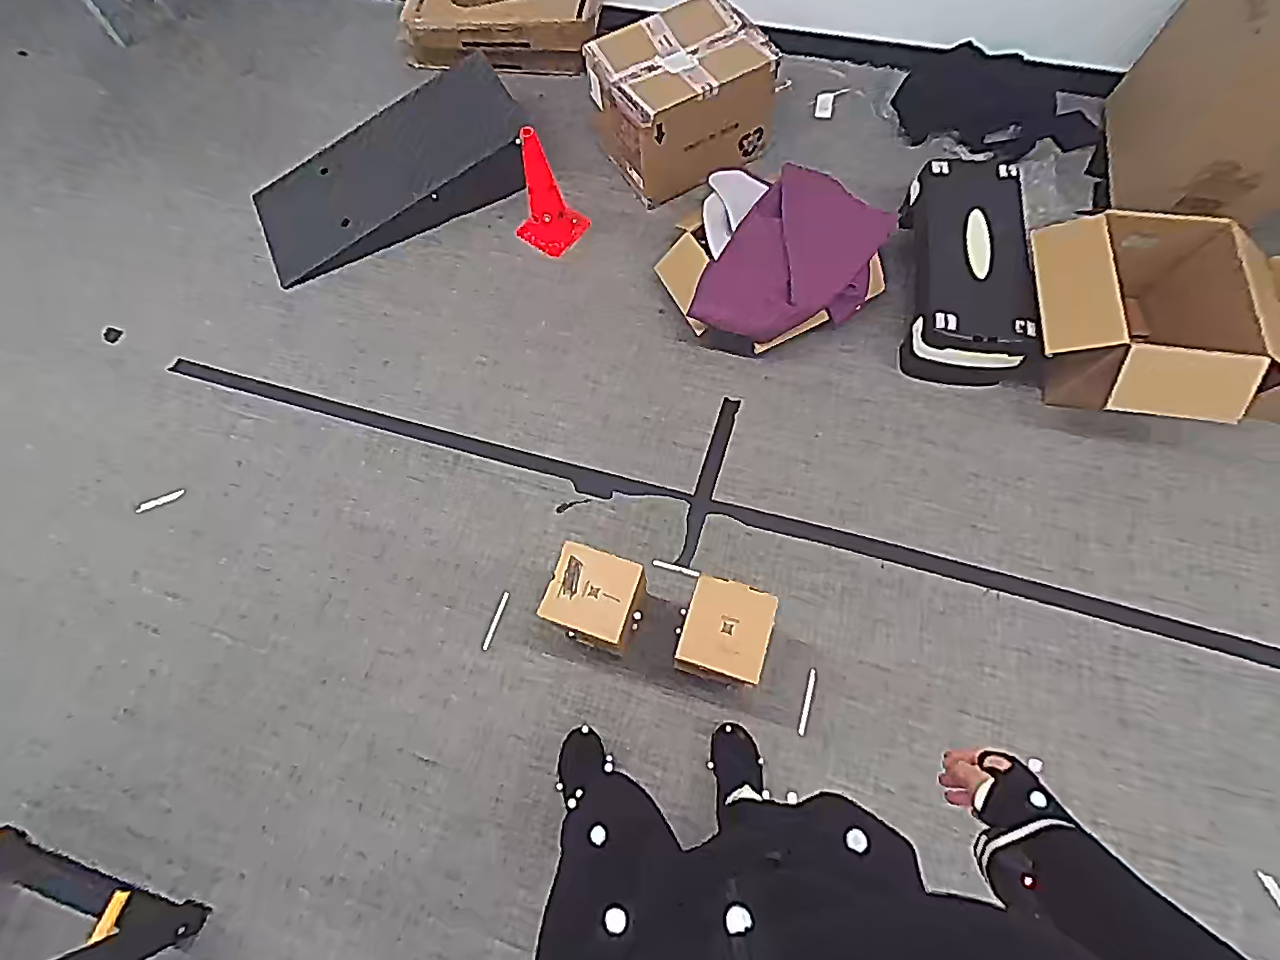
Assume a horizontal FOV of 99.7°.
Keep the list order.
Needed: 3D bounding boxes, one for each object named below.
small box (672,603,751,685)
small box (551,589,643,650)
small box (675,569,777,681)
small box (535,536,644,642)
[{"bbox_3d":[0.181,0.374,1.275,0.179,0.176,0.168,14,71,8],"label":"small box"},{"bbox_3d":[-0.094,0.305,1.315,0.168,0.176,0.179,17,72,10],"label":"small box"},{"bbox_3d":[0.172,0.305,1.127,0.168,0.176,0.179,16,73,10],"label":"small box"},{"bbox_3d":[-0.099,0.241,1.162,0.179,0.176,0.168,17,71,9],"label":"small box"}]
